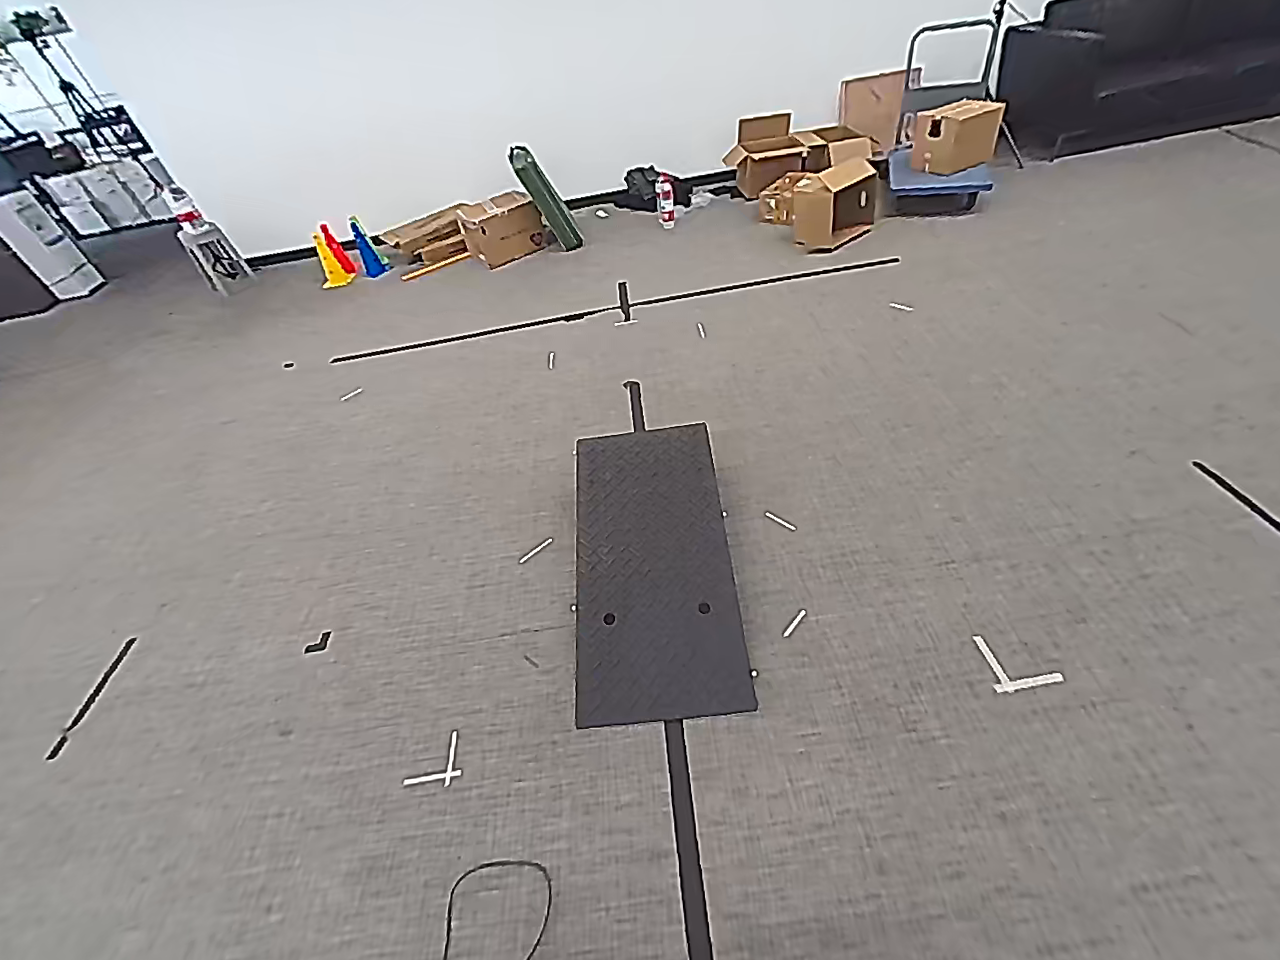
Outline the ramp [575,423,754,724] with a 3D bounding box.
[{"bbox_3d":[0.035,0.226,1.734,0.509,0.206,0.991,-8,44,2],"label":"ramp"}]
